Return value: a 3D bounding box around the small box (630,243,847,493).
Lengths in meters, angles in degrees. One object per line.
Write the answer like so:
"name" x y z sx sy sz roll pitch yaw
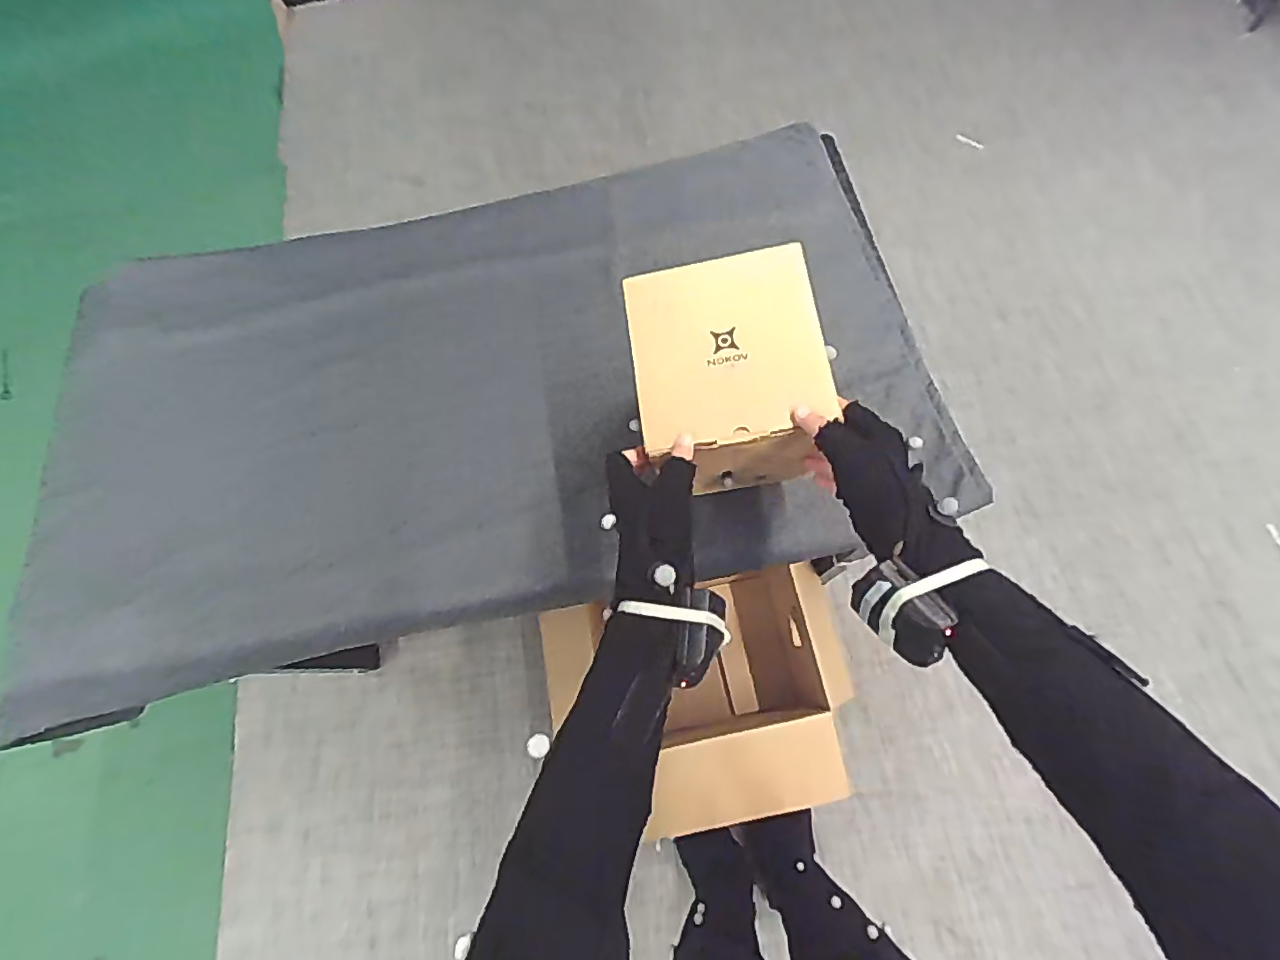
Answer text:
"small box" 0.090 -0.098 0.545 0.168 0.176 0.179 -9 74 7
